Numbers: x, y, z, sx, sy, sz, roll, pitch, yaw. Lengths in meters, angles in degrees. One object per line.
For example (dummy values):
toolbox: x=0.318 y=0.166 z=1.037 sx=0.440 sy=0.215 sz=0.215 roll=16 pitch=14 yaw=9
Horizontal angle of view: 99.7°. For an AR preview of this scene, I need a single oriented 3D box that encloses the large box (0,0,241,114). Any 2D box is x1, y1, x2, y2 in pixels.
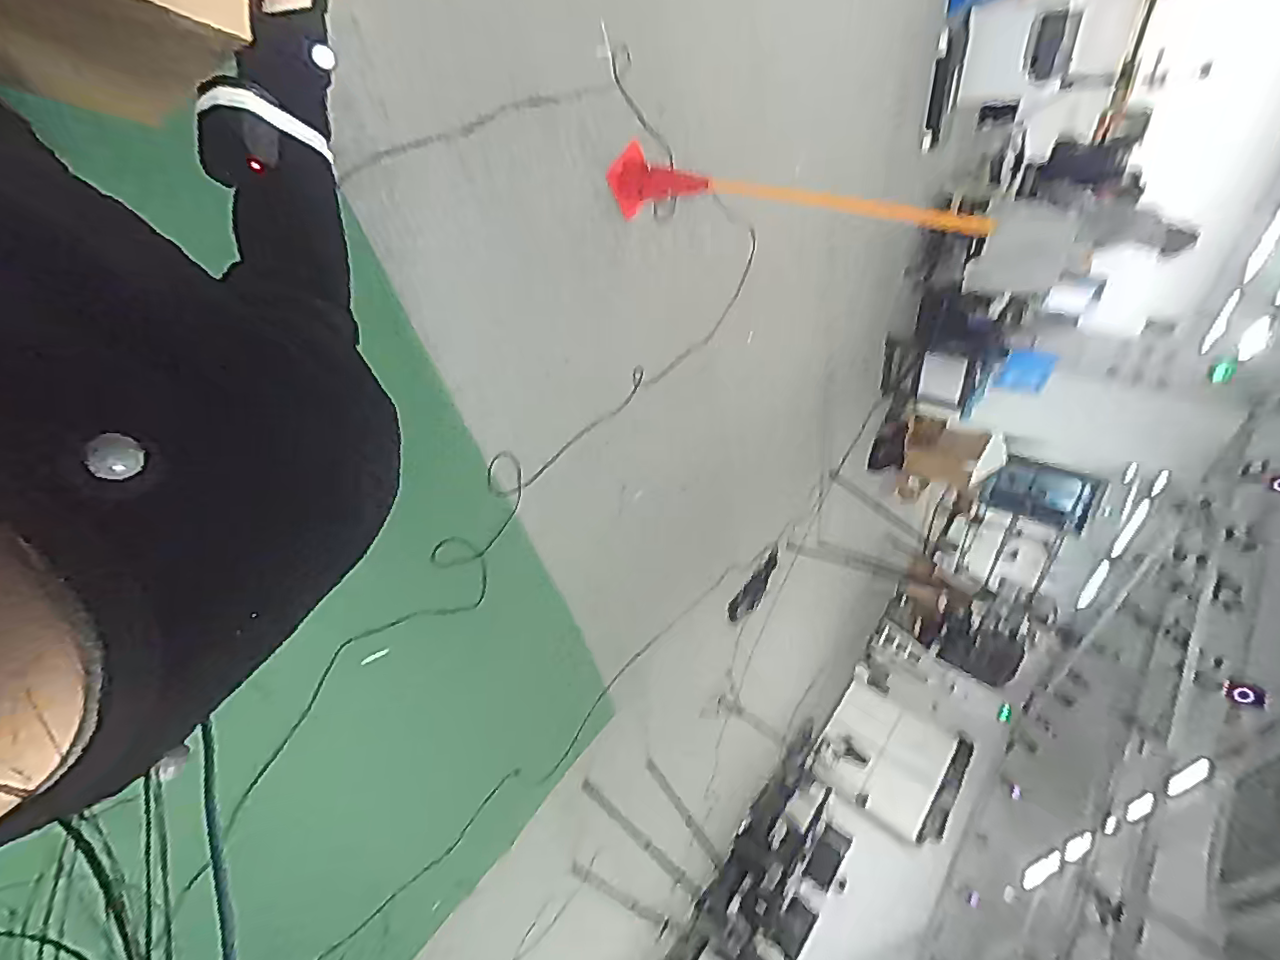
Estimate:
large box: x=-0.536 y=-0.480 z=0.319 sx=0.408 sy=0.320 sz=0.320 roll=-13 pitch=111 yaw=-49
